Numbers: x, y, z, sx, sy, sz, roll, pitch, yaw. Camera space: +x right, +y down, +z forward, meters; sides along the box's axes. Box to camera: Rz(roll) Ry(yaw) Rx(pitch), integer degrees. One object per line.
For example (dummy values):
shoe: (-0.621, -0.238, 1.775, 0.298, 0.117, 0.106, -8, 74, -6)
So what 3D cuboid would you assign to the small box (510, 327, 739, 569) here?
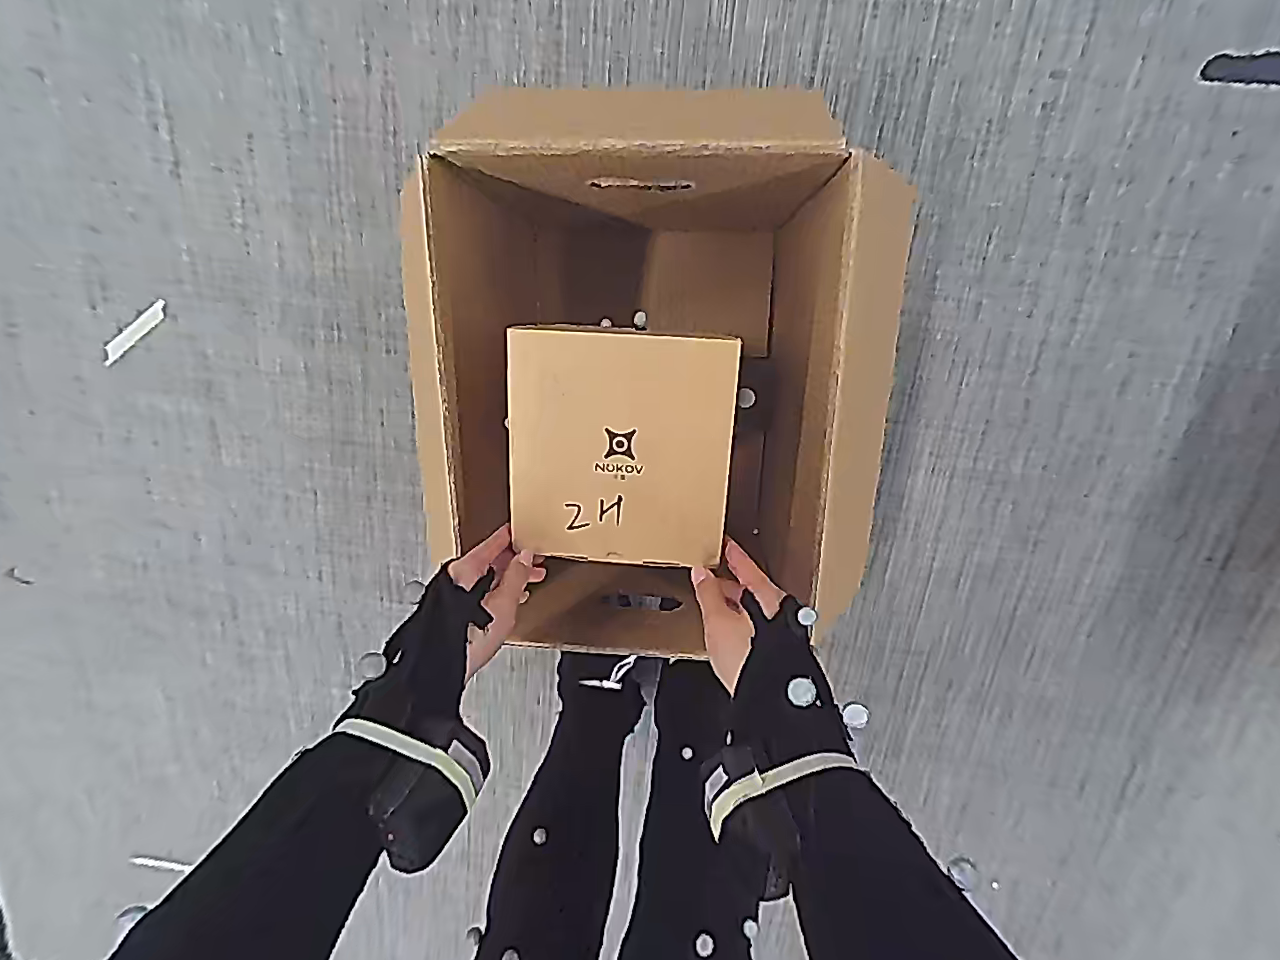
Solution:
small box: (-0.011, -0.040, 0.478, 0.168, 0.176, 0.179, 4, 106, 4)
